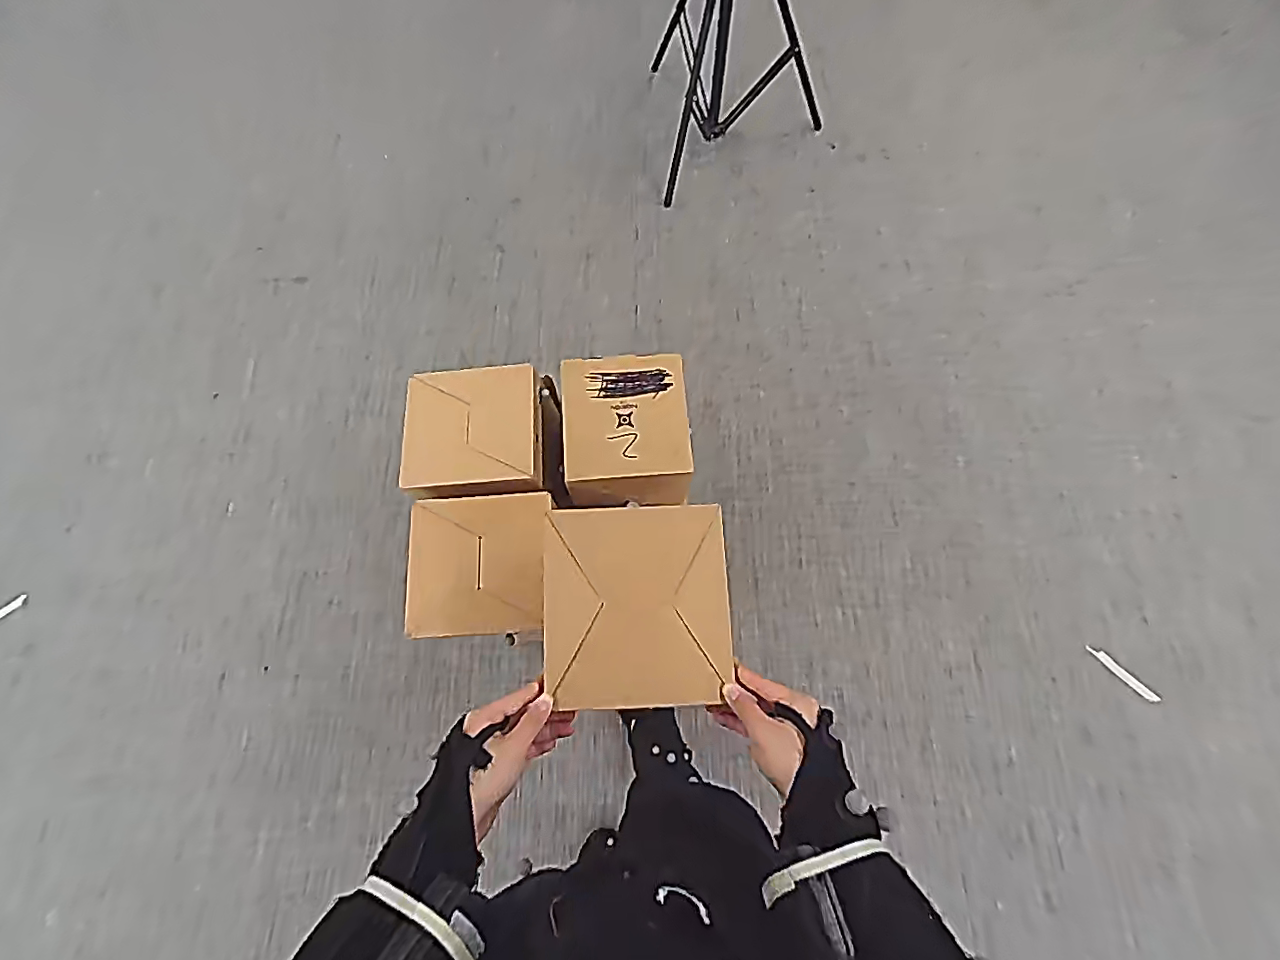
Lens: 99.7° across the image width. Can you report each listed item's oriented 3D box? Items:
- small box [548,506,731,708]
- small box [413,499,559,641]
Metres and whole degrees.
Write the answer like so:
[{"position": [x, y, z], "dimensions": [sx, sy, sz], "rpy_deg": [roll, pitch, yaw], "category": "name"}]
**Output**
[{"position": [-0.003, 0.134, 0.566], "dimensions": [0.168, 0.176, 0.179], "rpy_deg": [-2, 75, -1], "category": "small box"}, {"position": [-0.194, 0.127, 0.734], "dimensions": [0.179, 0.176, 0.168], "rpy_deg": [-4, 74, 0], "category": "small box"}]
